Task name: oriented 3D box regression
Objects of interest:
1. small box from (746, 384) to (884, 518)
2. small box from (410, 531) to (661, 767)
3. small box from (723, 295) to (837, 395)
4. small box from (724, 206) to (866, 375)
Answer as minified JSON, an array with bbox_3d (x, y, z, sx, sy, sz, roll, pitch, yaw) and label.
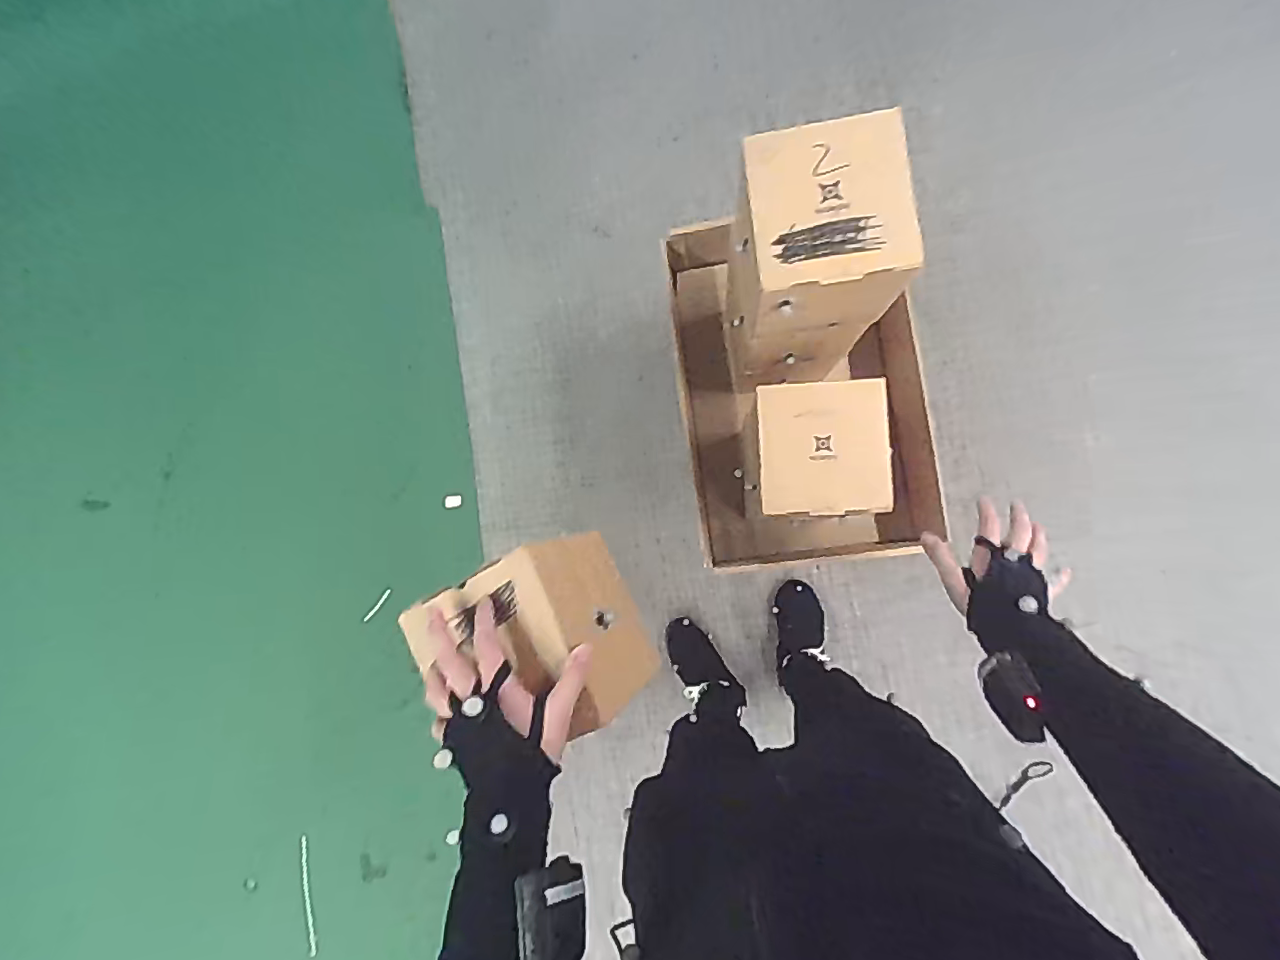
[{"bbox_3d":[0.245,-0.032,0.791,0.168,0.176,0.179,-2,84,7],"label":"small box"},{"bbox_3d":[-0.100,0.162,0.577,0.168,0.176,0.179,-27,82,18],"label":"small box"},{"bbox_3d":[0.243,-0.266,0.980,0.168,0.176,0.179,-8,85,7],"label":"small box"},{"bbox_3d":[0.222,-0.275,0.820,0.168,0.176,0.179,-8,86,6],"label":"small box"}]
